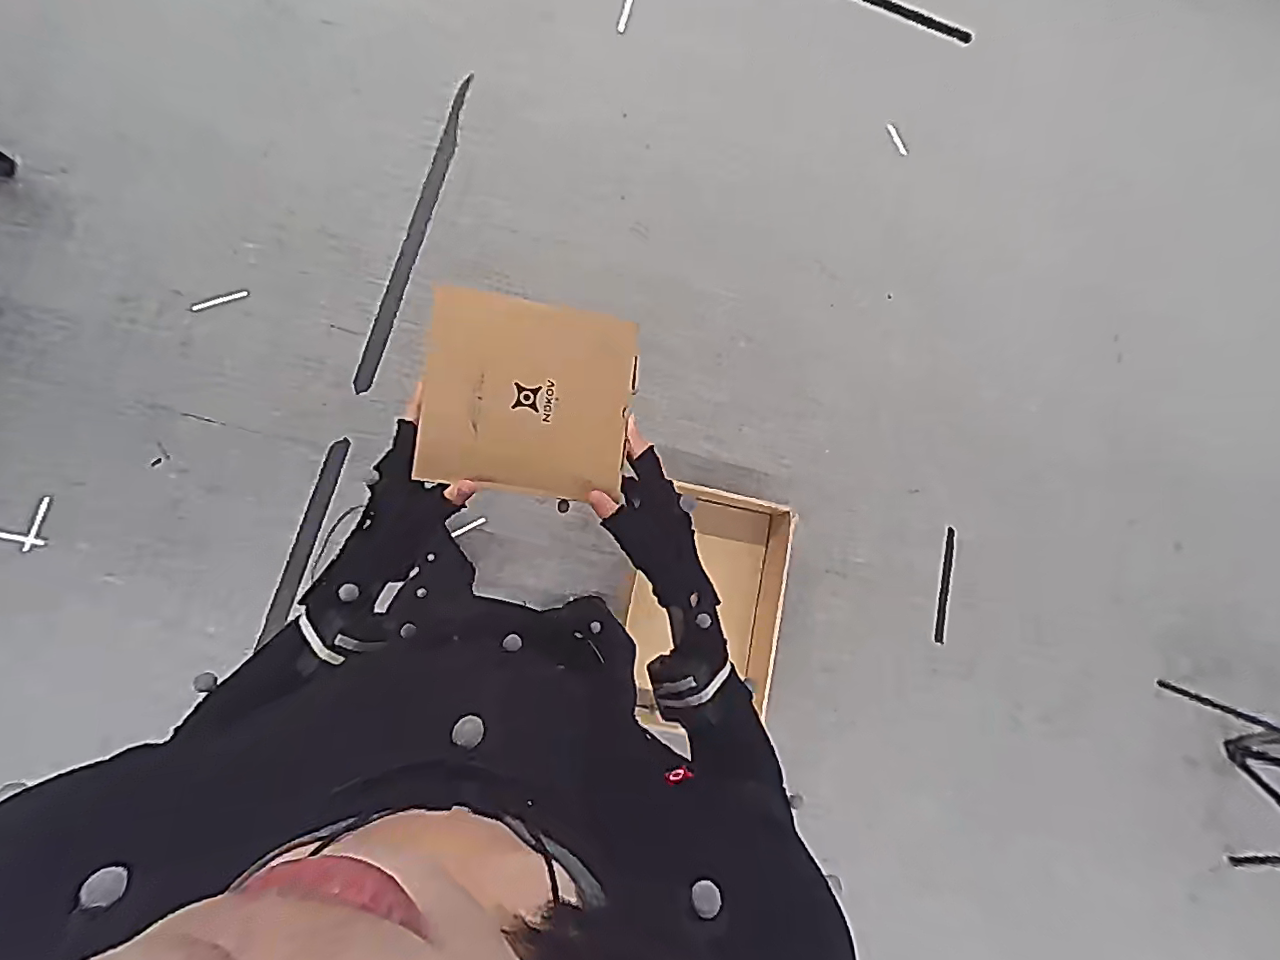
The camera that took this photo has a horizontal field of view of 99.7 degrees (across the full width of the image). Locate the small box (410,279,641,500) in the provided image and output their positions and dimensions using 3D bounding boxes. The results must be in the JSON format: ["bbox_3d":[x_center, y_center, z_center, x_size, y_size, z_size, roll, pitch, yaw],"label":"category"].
[{"bbox_3d":[-0.108,-0.073,0.534,0.179,0.176,0.168,7,87,-10],"label":"small box"}]
